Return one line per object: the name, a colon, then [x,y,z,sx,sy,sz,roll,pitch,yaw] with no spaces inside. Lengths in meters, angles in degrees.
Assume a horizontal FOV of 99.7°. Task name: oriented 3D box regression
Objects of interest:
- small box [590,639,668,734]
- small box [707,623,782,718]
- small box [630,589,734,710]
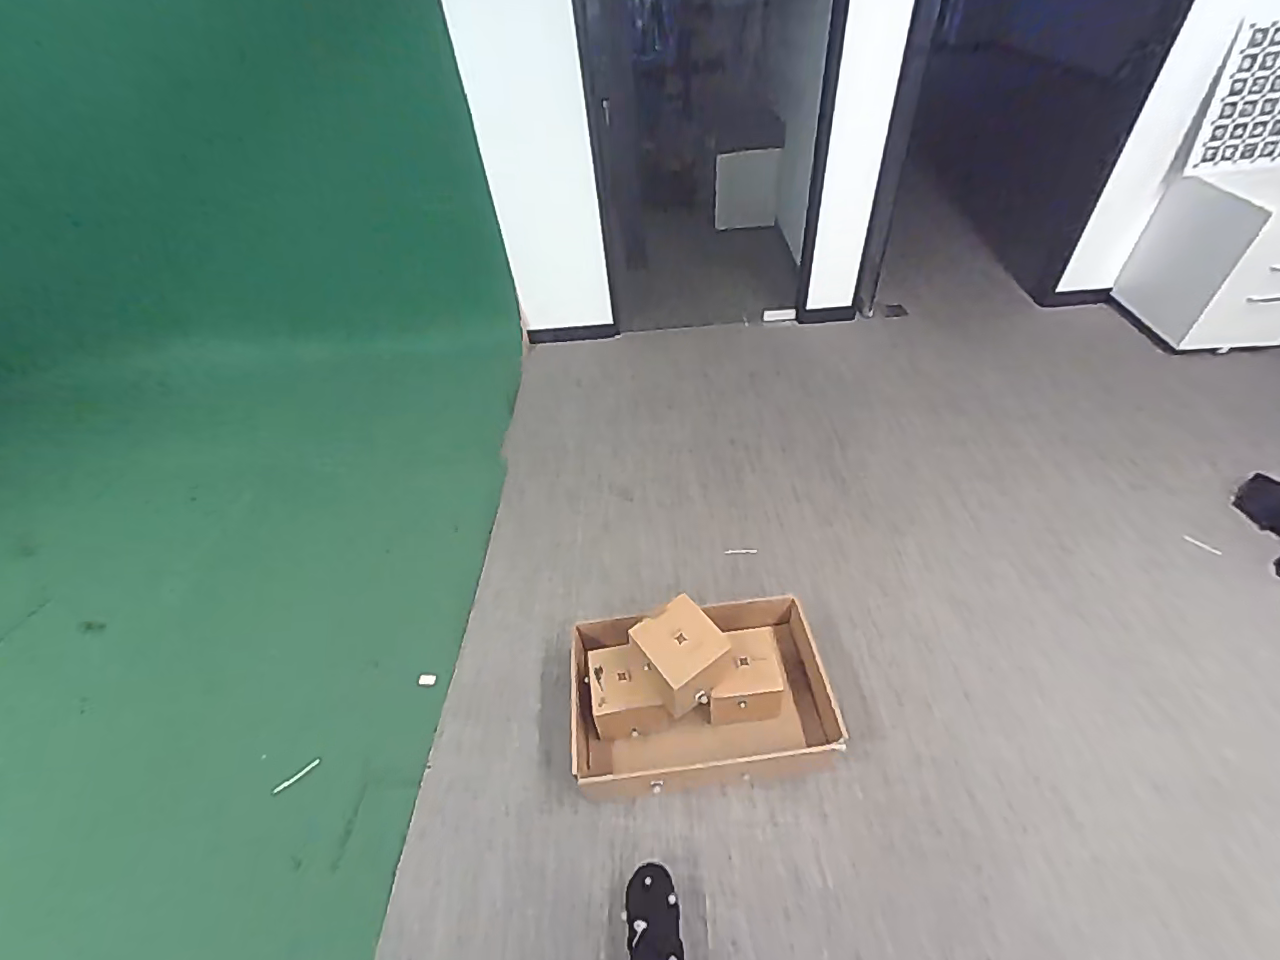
small box: [-0.027,0.523,1.372,0.179,0.176,0.168,-8,44,-4]
small box: [0.251,0.487,1.374,0.179,0.176,0.168,-7,45,1]
small box: [0.096,0.396,1.257,0.168,0.176,0.179,-30,51,-21]
